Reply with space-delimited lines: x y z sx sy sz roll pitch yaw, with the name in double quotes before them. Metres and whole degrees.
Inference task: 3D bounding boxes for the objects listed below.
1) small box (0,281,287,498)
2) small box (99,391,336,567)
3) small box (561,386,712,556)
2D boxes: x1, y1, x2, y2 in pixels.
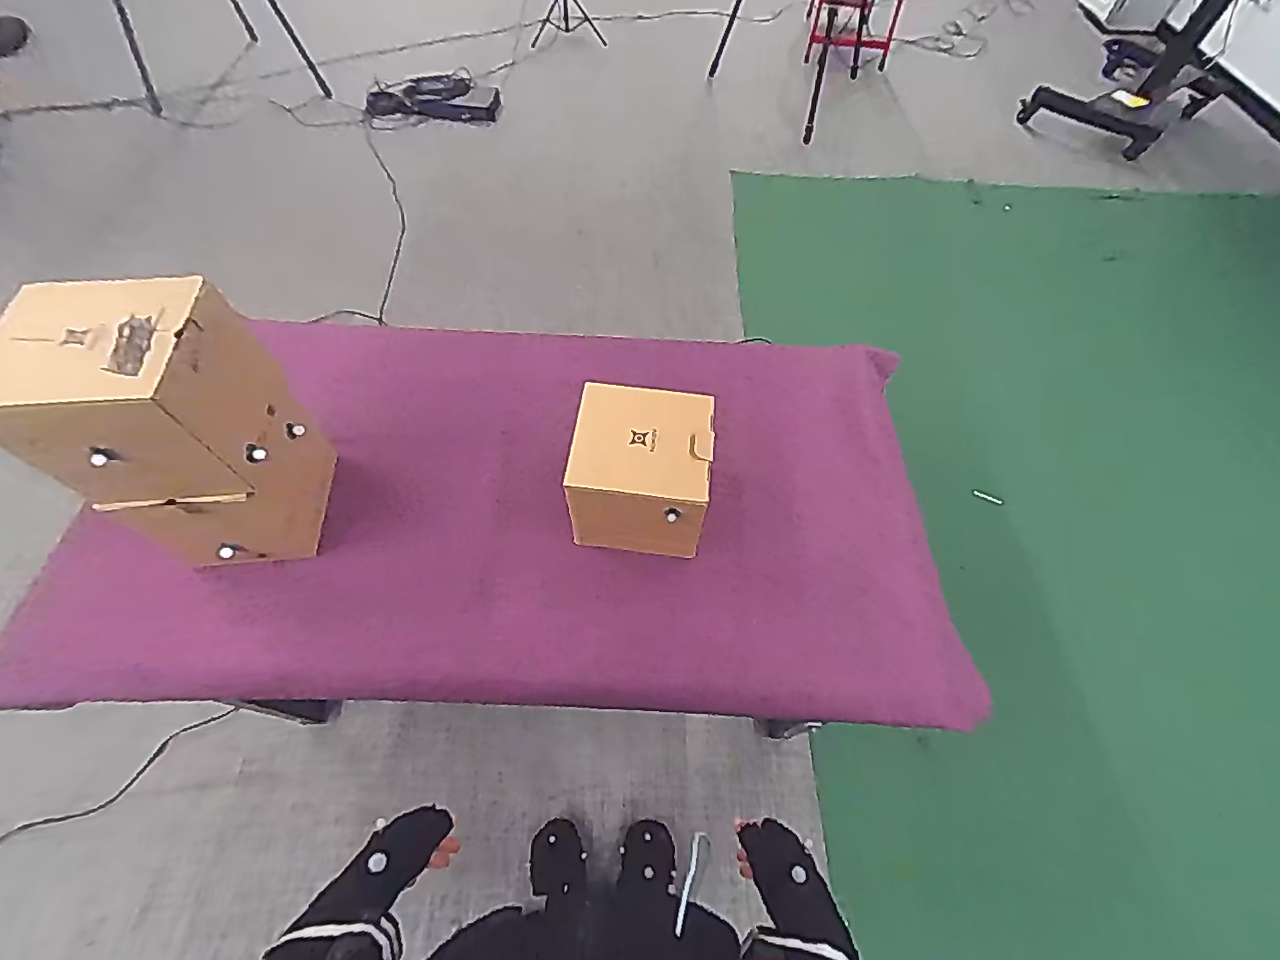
"small box" -0.525 -0.091 0.584 0.179 0.176 0.168 -2 57 -4
"small box" -0.537 0.000 0.723 0.168 0.176 0.179 -4 59 -4
"small box" -0.001 -0.007 0.747 0.179 0.176 0.168 6 59 2
